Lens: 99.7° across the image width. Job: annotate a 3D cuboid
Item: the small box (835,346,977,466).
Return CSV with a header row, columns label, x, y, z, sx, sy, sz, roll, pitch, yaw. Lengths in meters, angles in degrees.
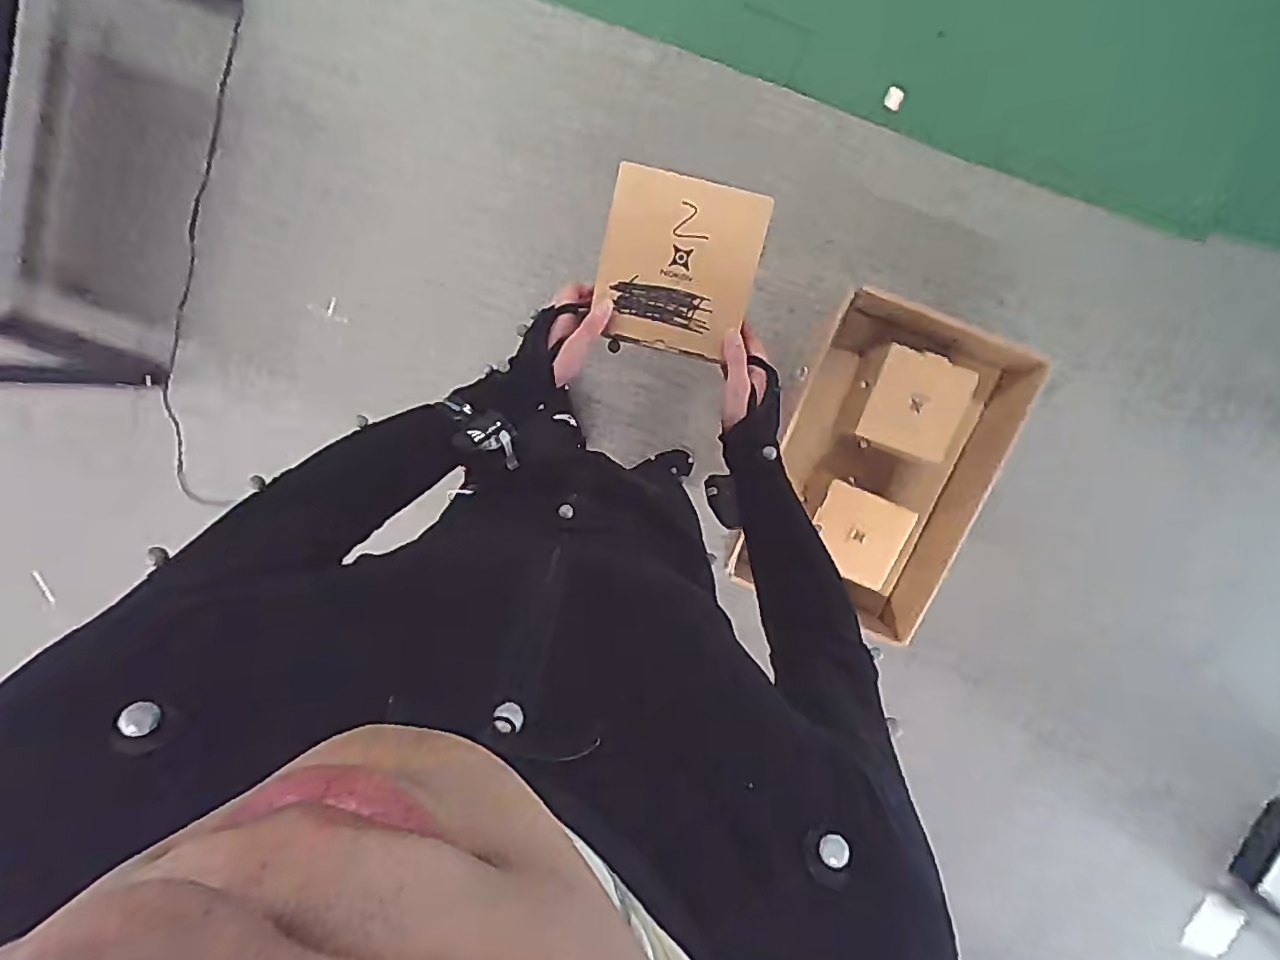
label,x,y,z,sx,sy,sz,roll,pitch,yaw
small box,0.505,-0.146,1.060,0.168,0.176,0.179,21,101,1
